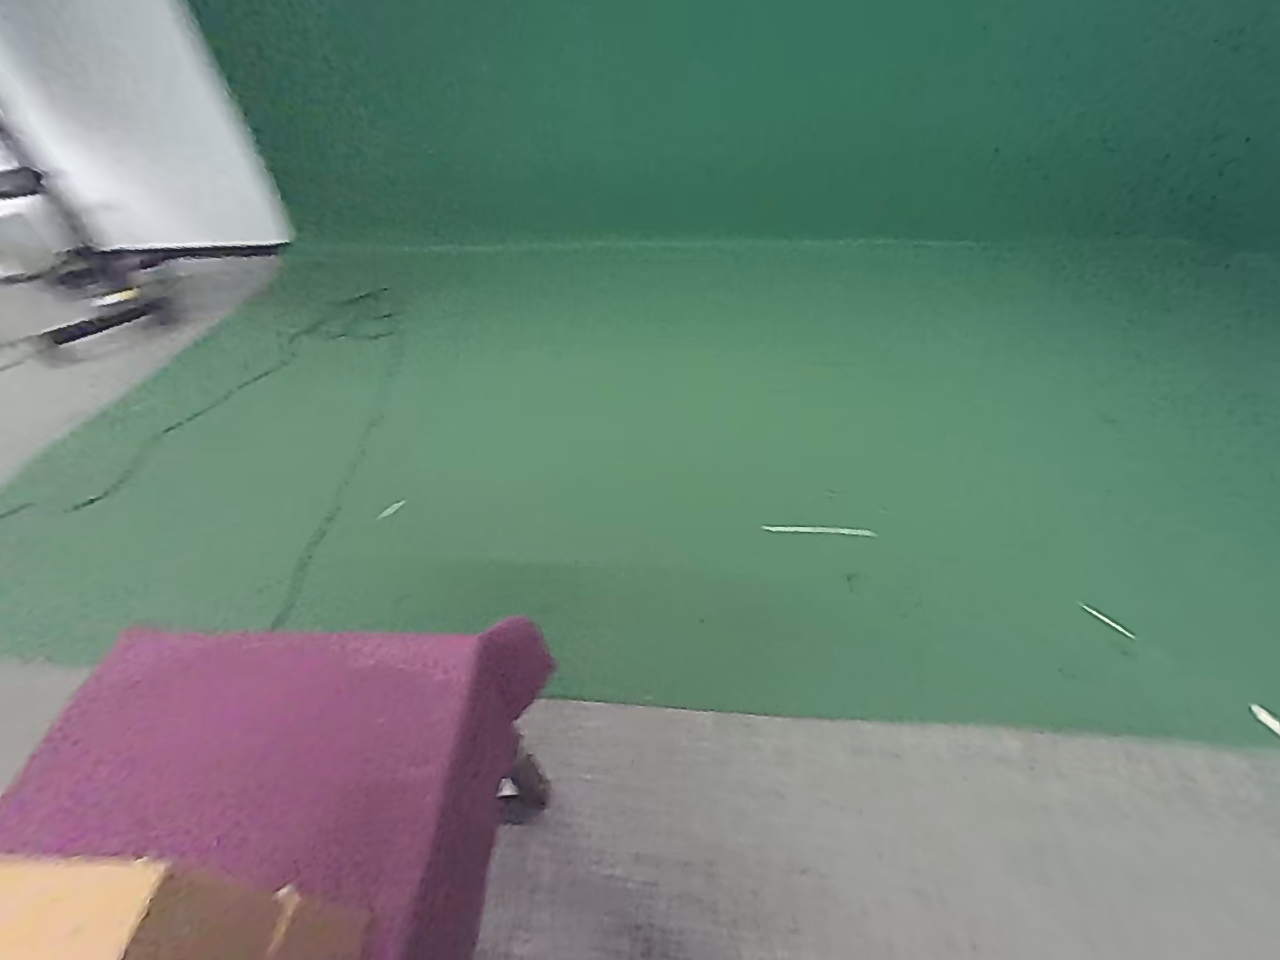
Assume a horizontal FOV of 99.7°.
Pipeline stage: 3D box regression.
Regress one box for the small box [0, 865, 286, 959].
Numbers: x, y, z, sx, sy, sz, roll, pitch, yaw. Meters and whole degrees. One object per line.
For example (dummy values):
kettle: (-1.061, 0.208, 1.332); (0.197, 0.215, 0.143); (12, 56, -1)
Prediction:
small box: (-0.408, 0.388, 0.384); (0.179, 0.176, 0.168); (-2, 46, 2)
